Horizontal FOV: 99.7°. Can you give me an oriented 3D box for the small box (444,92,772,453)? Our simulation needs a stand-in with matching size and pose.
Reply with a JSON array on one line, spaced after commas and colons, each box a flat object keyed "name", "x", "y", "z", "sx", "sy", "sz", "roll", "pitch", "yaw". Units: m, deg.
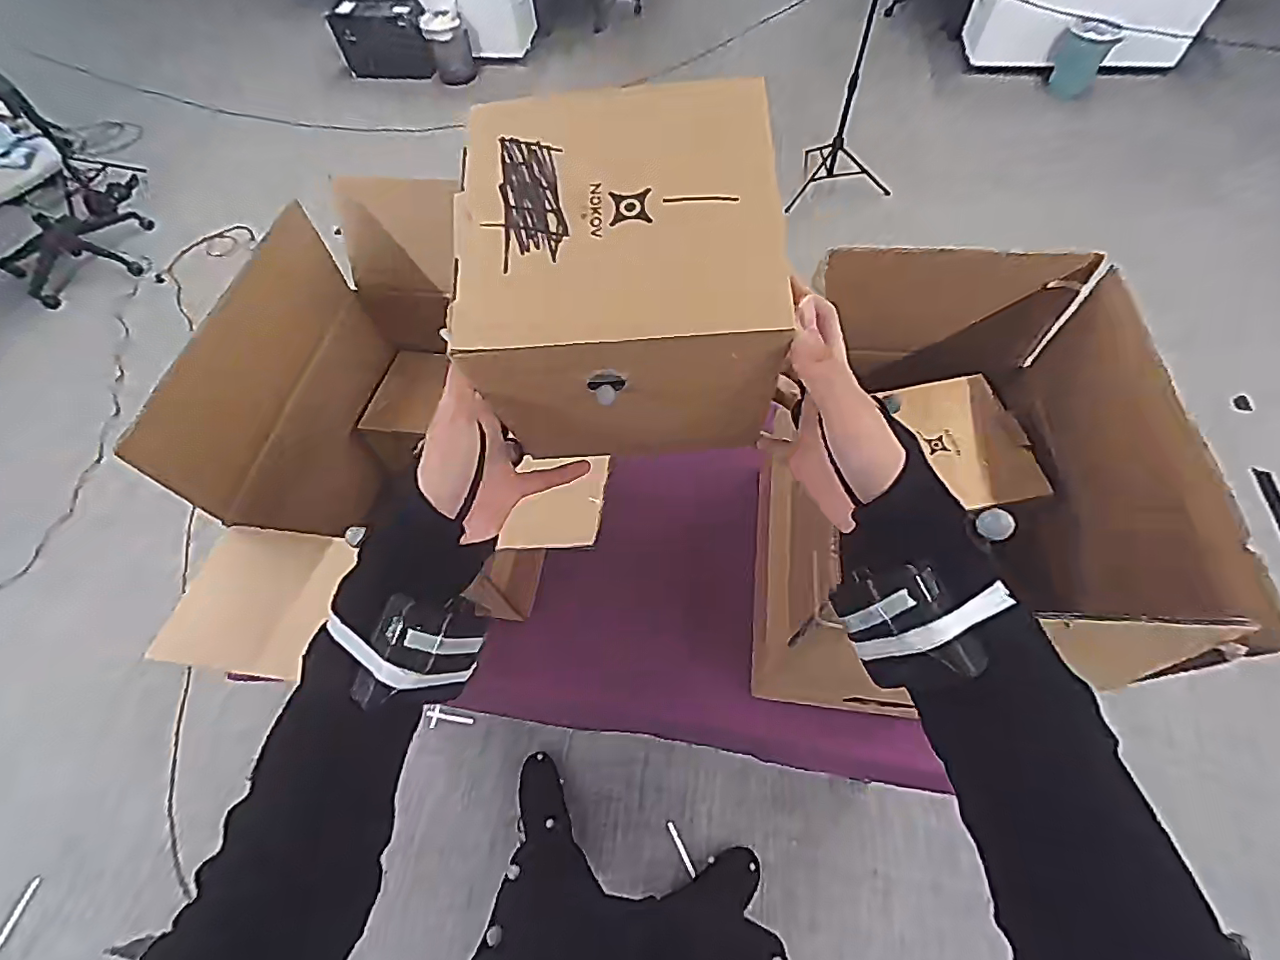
[{"name": "small box", "x": -0.013, "y": -0.123, "z": 0.378, "sx": 0.179, "sy": 0.176, "sz": 0.168, "roll": -3, "pitch": 73, "yaw": 4}]
